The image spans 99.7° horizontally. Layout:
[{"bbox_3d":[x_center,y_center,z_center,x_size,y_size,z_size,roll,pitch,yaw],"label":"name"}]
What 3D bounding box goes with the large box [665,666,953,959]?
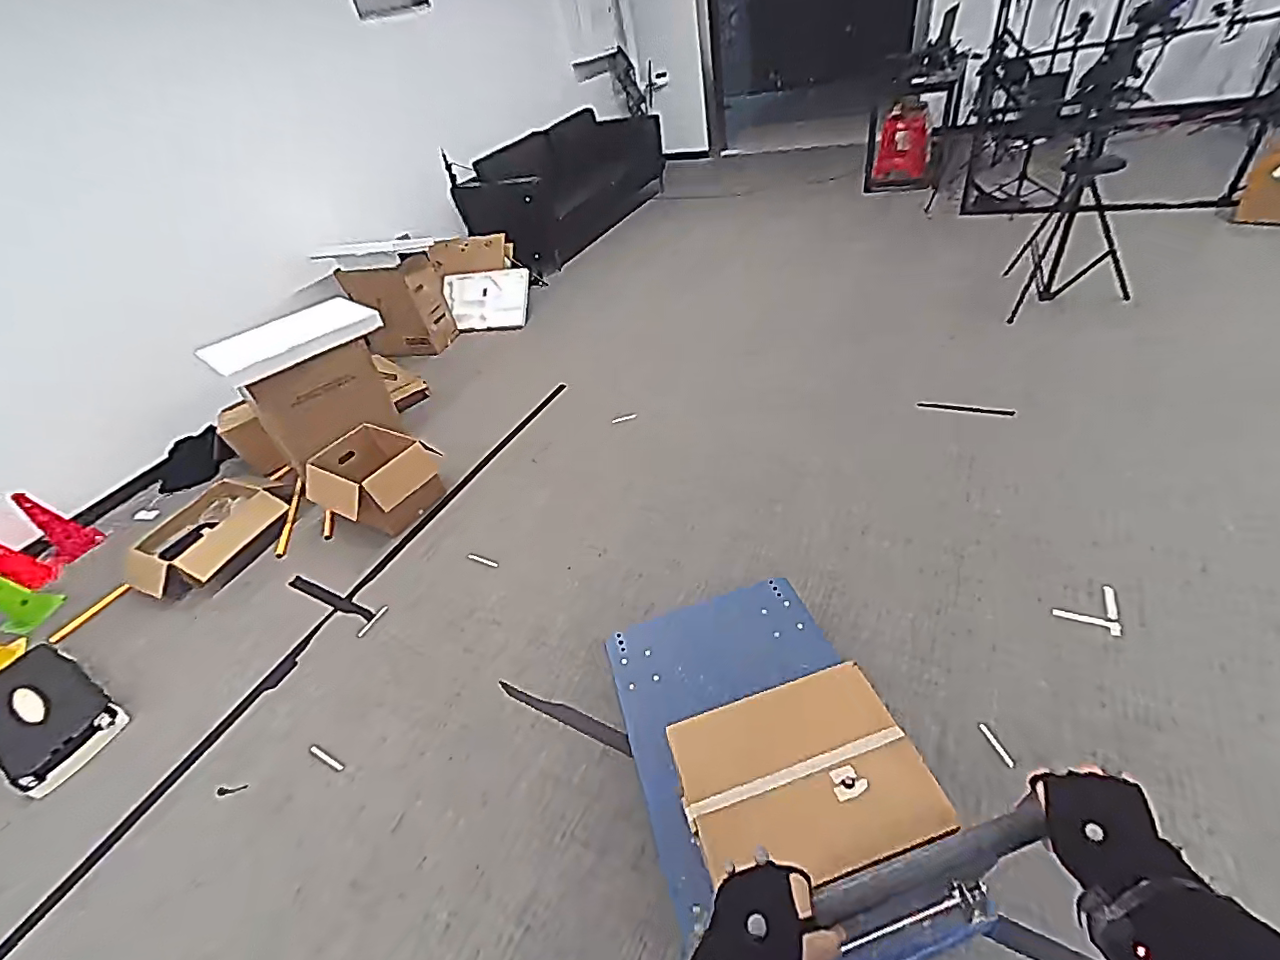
[{"bbox_3d":[0.295,0.633,1.043,0.408,0.320,0.320,-16,41,-7],"label":"large box"}]
